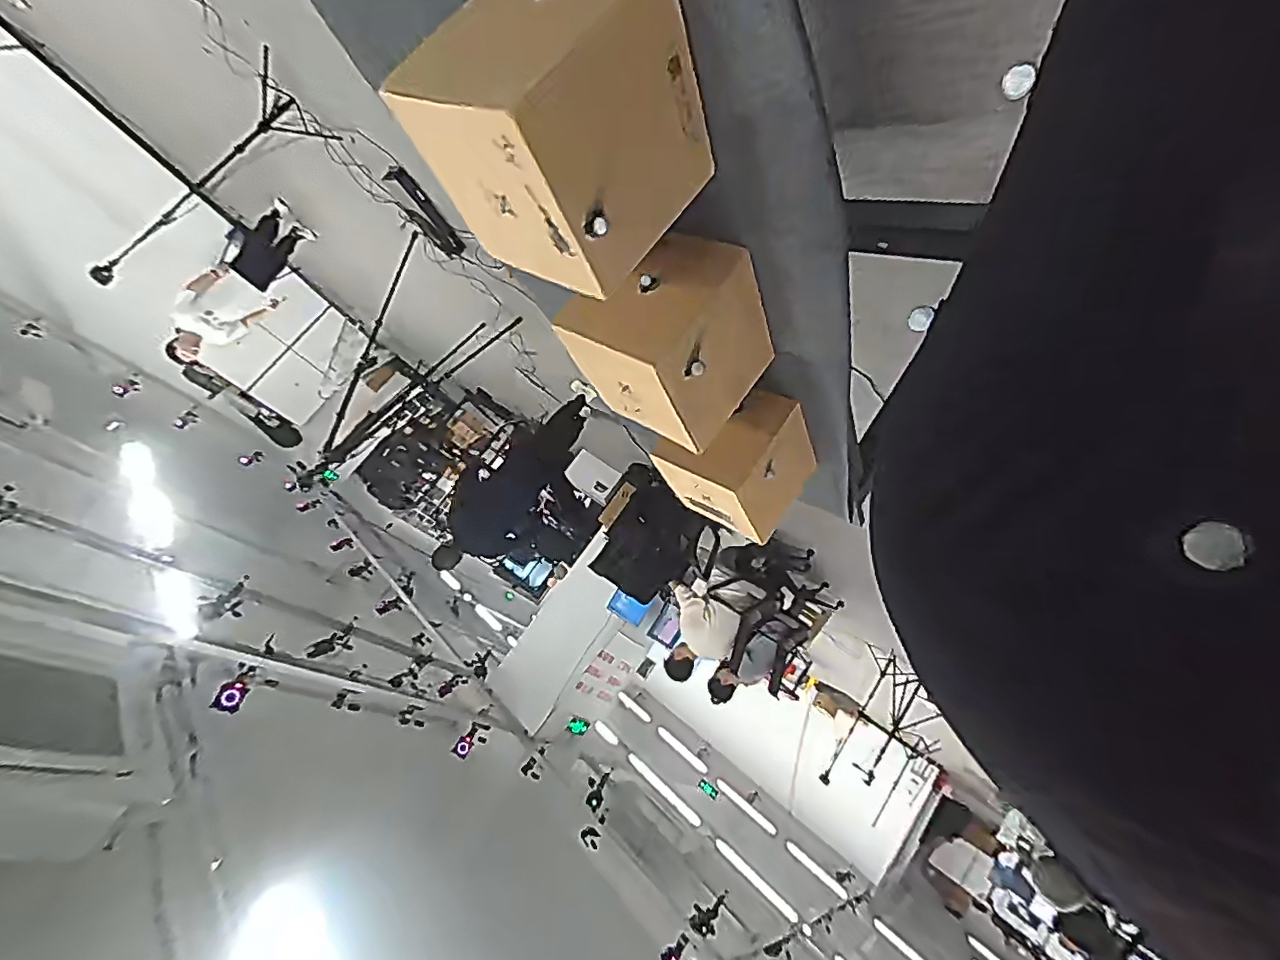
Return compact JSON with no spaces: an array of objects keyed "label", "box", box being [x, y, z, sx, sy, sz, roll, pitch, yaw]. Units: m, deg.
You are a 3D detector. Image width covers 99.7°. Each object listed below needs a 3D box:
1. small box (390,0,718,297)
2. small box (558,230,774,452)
[{"label":"small box","box":[-0.061,-0.296,0.459,0.179,0.176,0.168,33,169,30]},{"label":"small box","box":[0.041,-0.171,0.654,0.168,0.176,0.179,31,168,34]}]
